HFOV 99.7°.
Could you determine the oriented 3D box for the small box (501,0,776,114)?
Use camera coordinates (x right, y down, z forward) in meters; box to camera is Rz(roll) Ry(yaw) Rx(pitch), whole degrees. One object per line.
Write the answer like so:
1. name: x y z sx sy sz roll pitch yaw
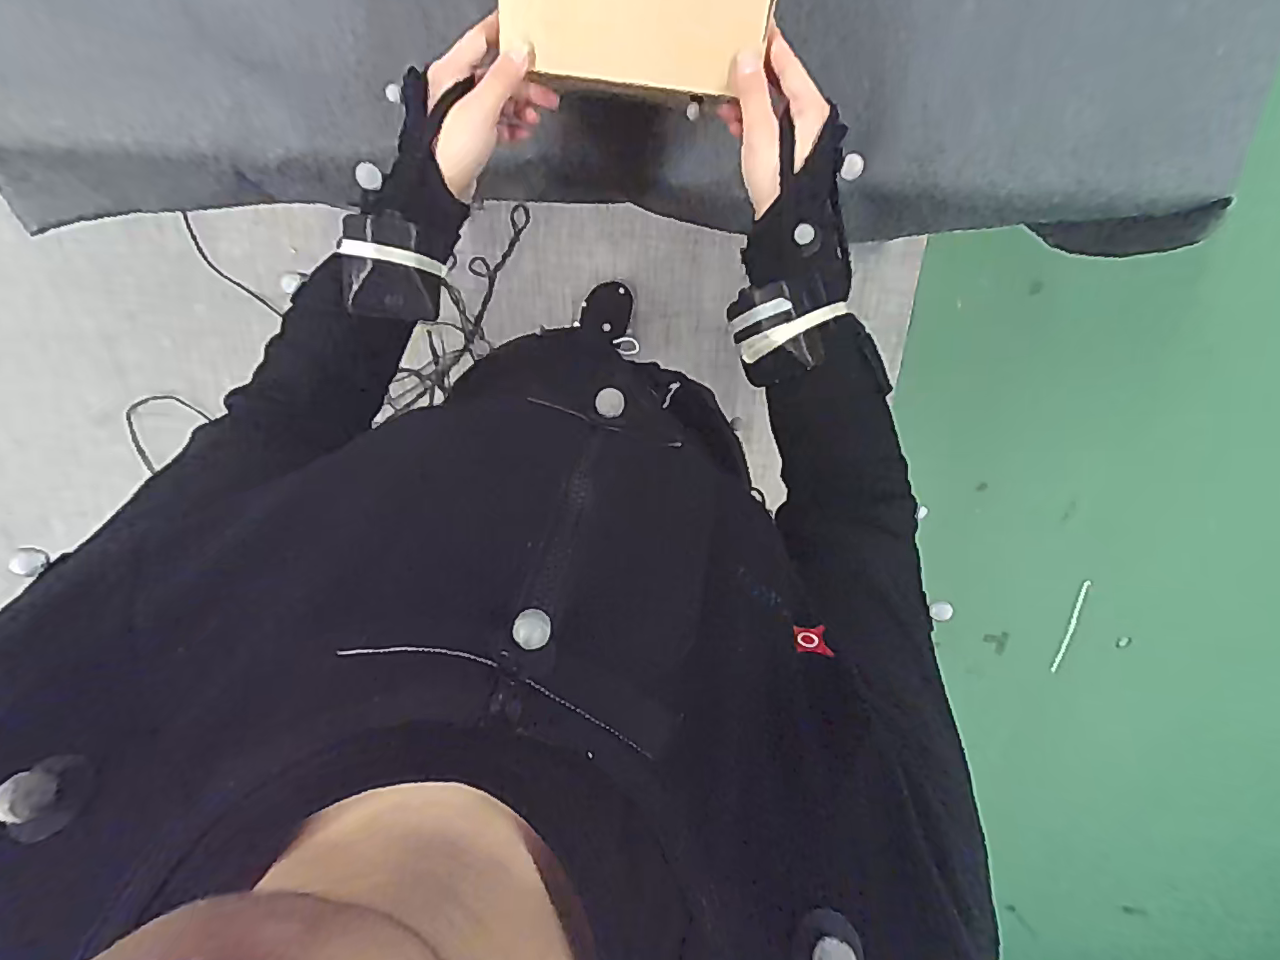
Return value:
1. small box: 0.003 -0.376 0.392 0.179 0.176 0.168 4 121 -3
